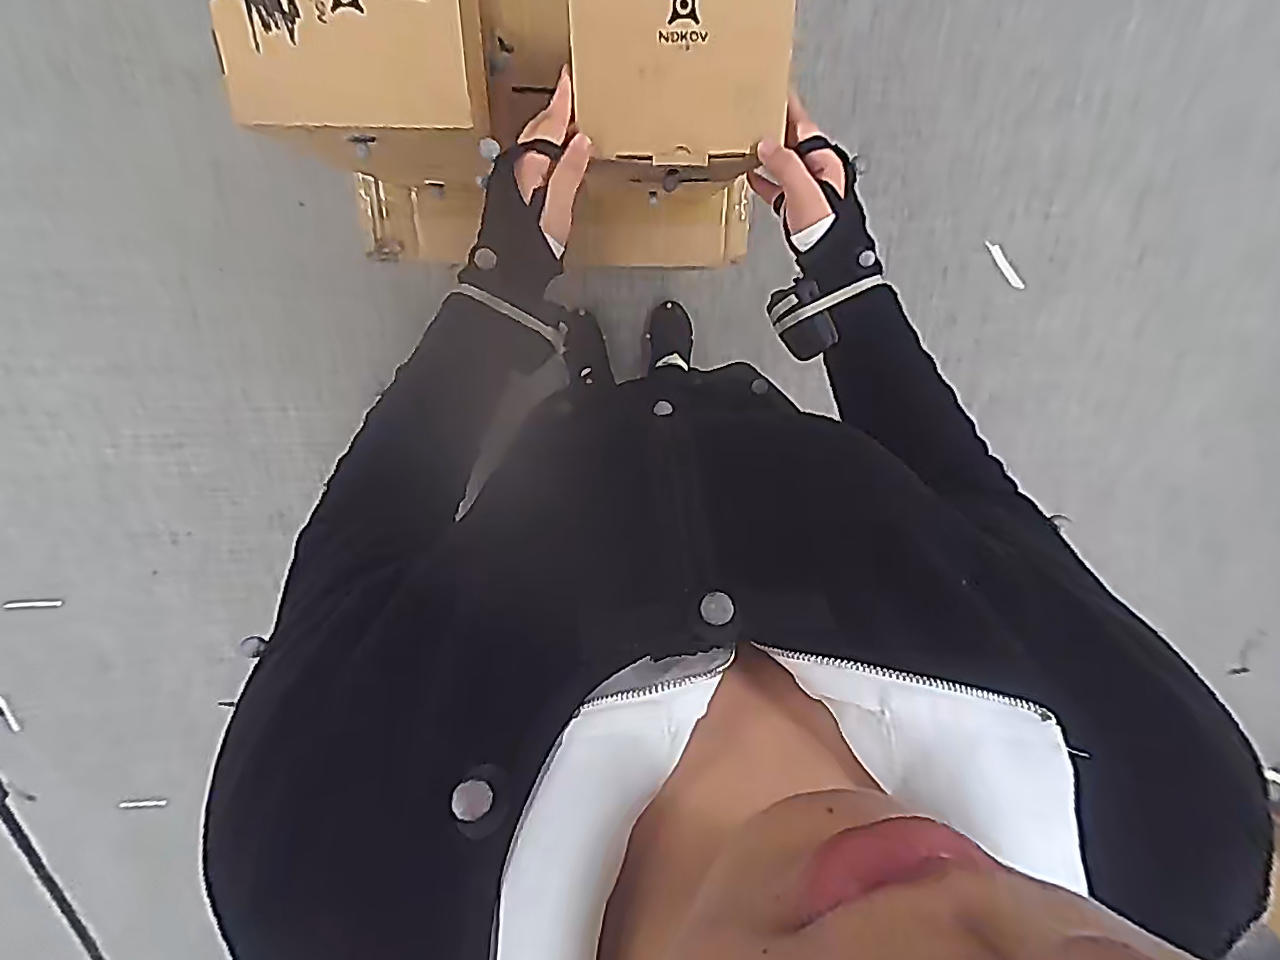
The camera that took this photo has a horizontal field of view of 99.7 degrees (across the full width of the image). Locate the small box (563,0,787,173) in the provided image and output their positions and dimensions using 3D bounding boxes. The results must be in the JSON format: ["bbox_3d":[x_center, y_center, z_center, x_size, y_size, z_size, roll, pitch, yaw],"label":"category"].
[{"bbox_3d":[0.024,-0.371,0.469,0.168,0.176,0.179,-2,115,-1],"label":"small box"}]

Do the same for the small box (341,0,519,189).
[{"bbox_3d":[-0.234,-0.438,0.608,0.168,0.176,0.179,-1,113,-3],"label":"small box"}]

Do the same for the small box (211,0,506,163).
[{"bbox_3d":[-0.221,-0.375,0.457,0.179,0.176,0.168,-2,112,-4],"label":"small box"}]

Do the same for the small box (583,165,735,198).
[{"bbox_3d":[0.018,-0.435,0.623,0.168,0.176,0.179,0,112,-2],"label":"small box"}]
